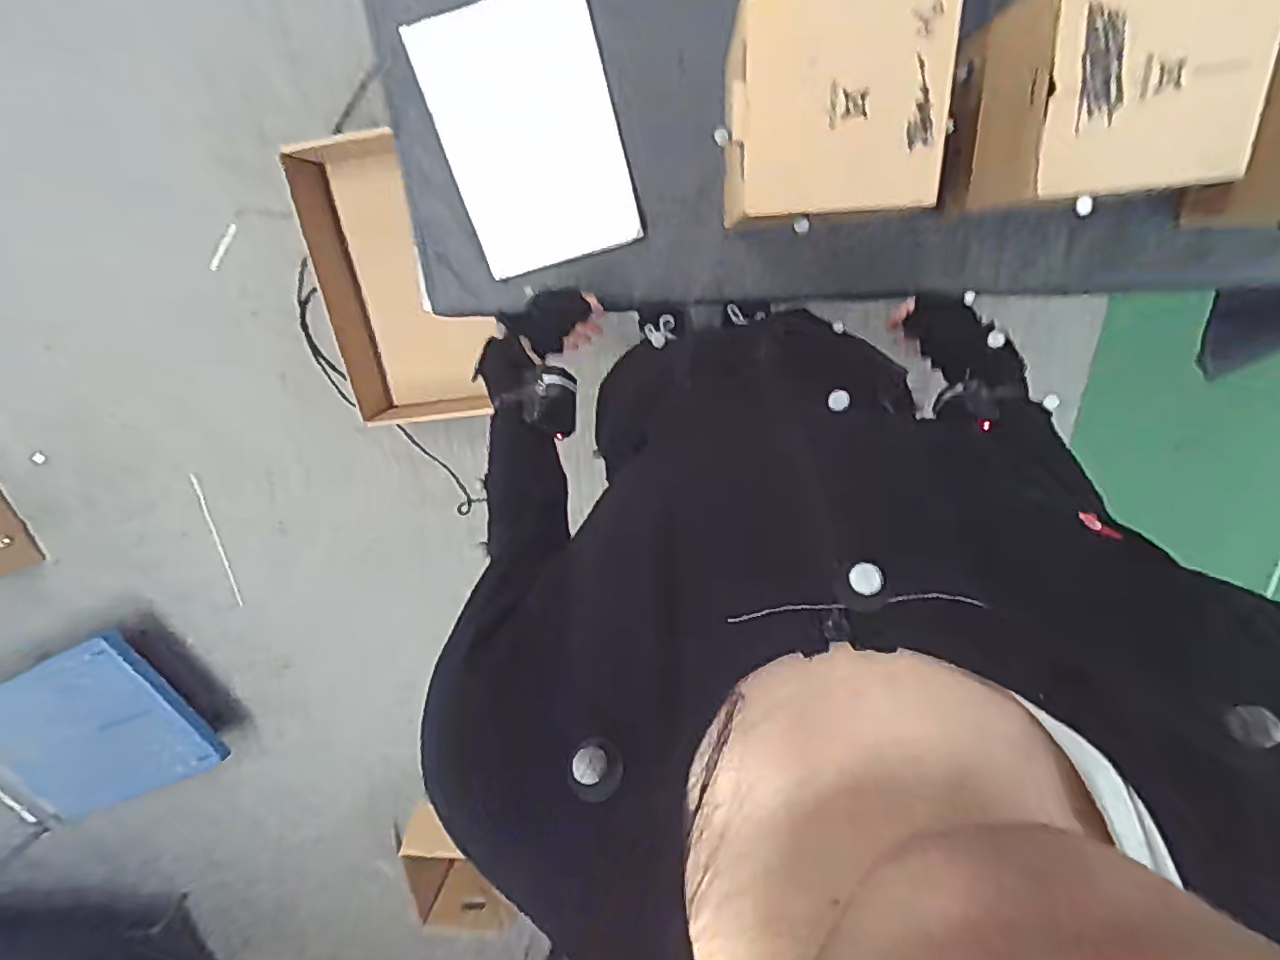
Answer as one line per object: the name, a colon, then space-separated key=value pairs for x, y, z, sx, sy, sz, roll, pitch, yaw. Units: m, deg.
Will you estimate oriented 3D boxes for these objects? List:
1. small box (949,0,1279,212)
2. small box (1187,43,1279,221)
small box: x=0.422 y=-0.359 z=0.510 sx=0.179 sy=0.176 sz=0.168 roll=-4 pitch=110 yaw=4
small box: x=0.683 y=-0.346 z=0.502 sx=0.168 sy=0.176 sz=0.179 roll=2 pitch=111 yaw=3
